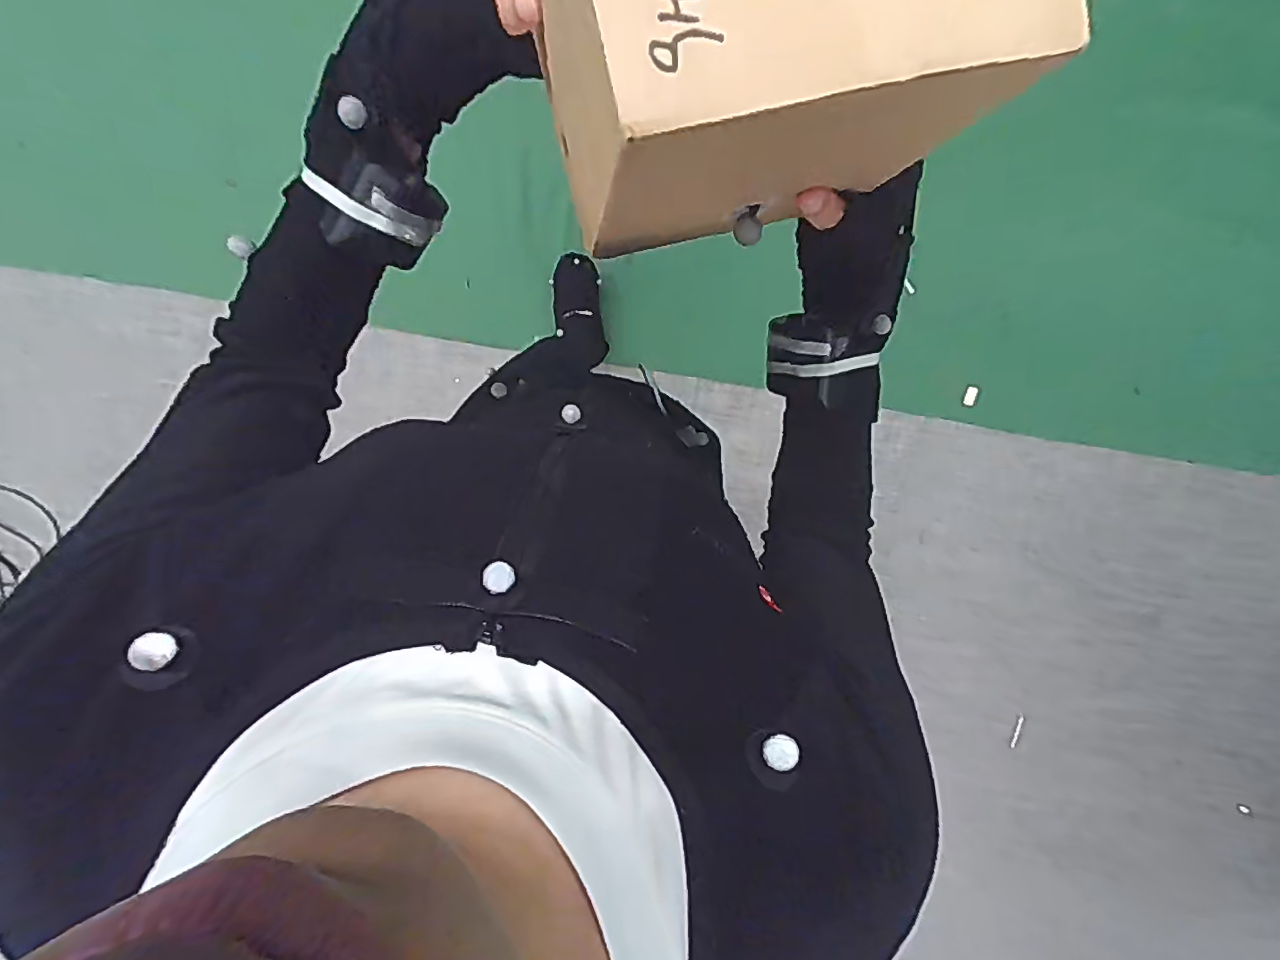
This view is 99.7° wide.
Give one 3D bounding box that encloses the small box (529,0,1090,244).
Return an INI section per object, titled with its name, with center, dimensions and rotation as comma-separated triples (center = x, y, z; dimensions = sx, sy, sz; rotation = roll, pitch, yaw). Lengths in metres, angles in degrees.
[small box]
center = 0.048, -0.224, 0.245
dimensions = 0.179, 0.176, 0.168
rotation = -15, 101, -7
